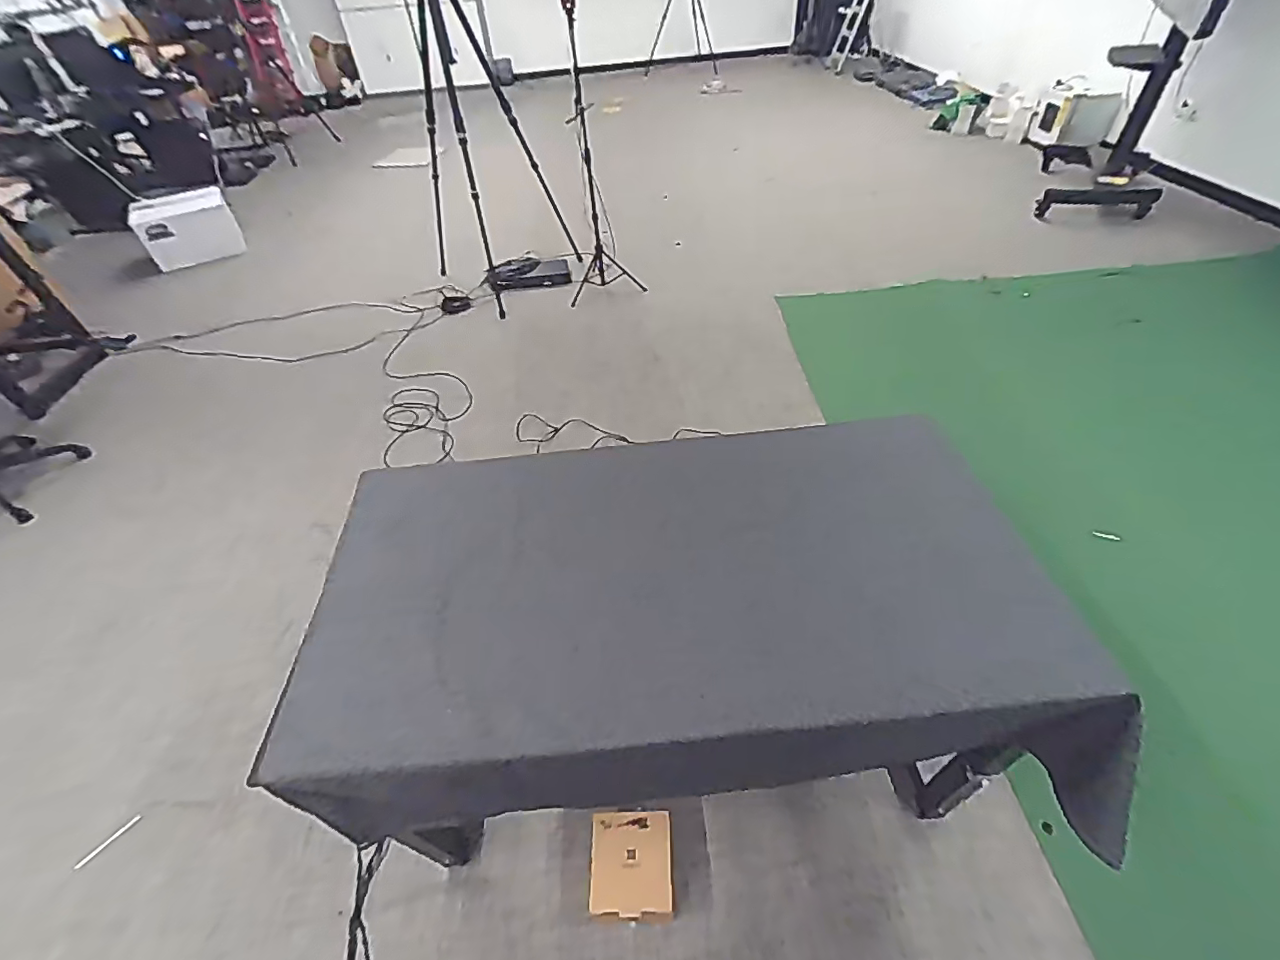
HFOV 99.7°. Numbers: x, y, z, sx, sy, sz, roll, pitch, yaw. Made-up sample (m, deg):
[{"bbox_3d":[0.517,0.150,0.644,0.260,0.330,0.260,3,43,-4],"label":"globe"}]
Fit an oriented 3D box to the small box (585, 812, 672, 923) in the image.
[{"bbox_3d":[-0.019,0.828,1.152,0.168,0.176,0.179,-3,46,3],"label":"small box"}]
